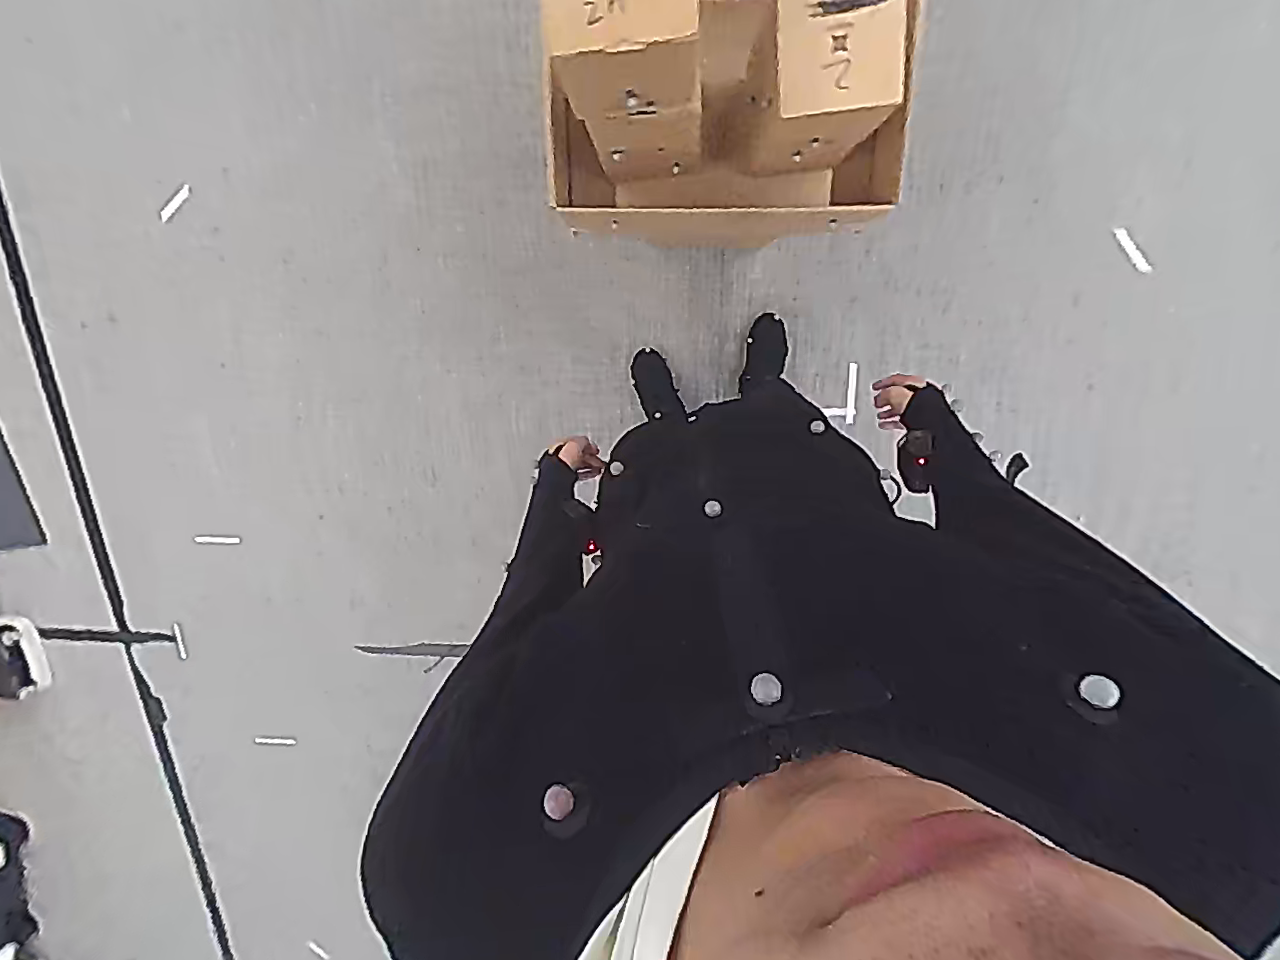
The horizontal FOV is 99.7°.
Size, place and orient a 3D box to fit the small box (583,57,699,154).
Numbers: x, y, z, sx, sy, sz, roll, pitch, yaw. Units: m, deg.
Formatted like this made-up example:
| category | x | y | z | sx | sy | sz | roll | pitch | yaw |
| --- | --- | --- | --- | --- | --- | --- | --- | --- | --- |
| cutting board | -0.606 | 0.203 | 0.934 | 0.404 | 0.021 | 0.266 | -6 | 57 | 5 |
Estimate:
| category | x | y | z | sx | sy | sz | roll | pitch | yaw |
| --- | --- | --- | --- | --- | --- | --- | --- | --- | --- |
| small box | 0.003 | -0.607 | 0.807 | 0.168 | 0.176 | 0.179 | -2 | 104 | 4 |

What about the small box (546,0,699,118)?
| category | x | y | z | sx | sy | sz | roll | pitch | yaw |
| --- | --- | --- | --- | --- | --- | --- | --- | --- | --- |
| small box | -0.019 | -0.571 | 0.647 | 0.168 | 0.176 | 0.179 | -4 | 104 | 5 |
